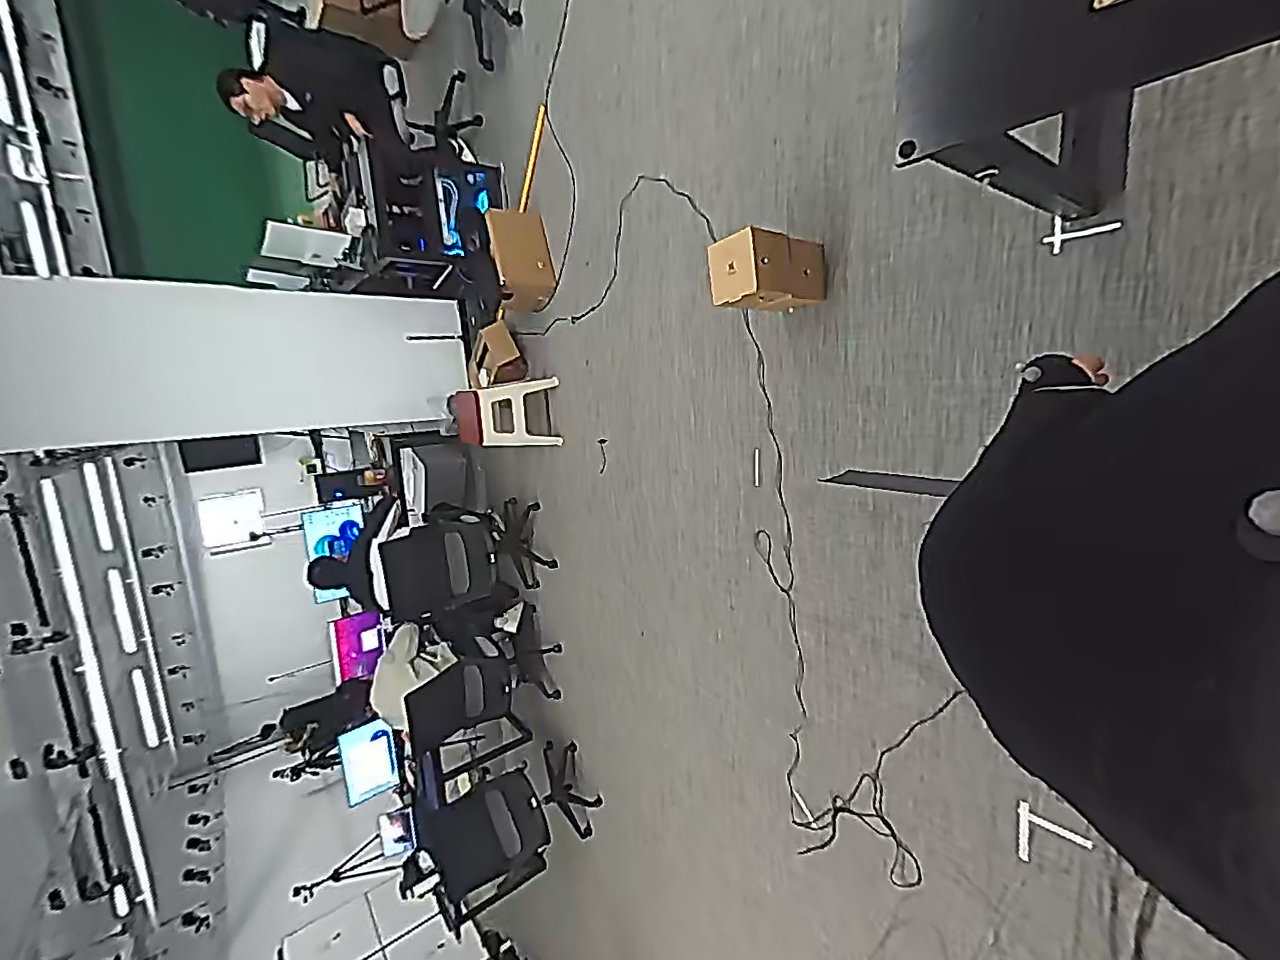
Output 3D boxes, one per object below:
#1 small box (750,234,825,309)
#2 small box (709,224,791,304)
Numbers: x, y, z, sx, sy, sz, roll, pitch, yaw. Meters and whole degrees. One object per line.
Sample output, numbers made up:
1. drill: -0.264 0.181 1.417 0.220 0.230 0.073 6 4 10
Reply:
1. small box: 0.452 -0.635 1.667 0.168 0.176 0.179 4 102 52
2. small box: 0.323 -0.616 1.570 0.168 0.176 0.179 -1 97 52
